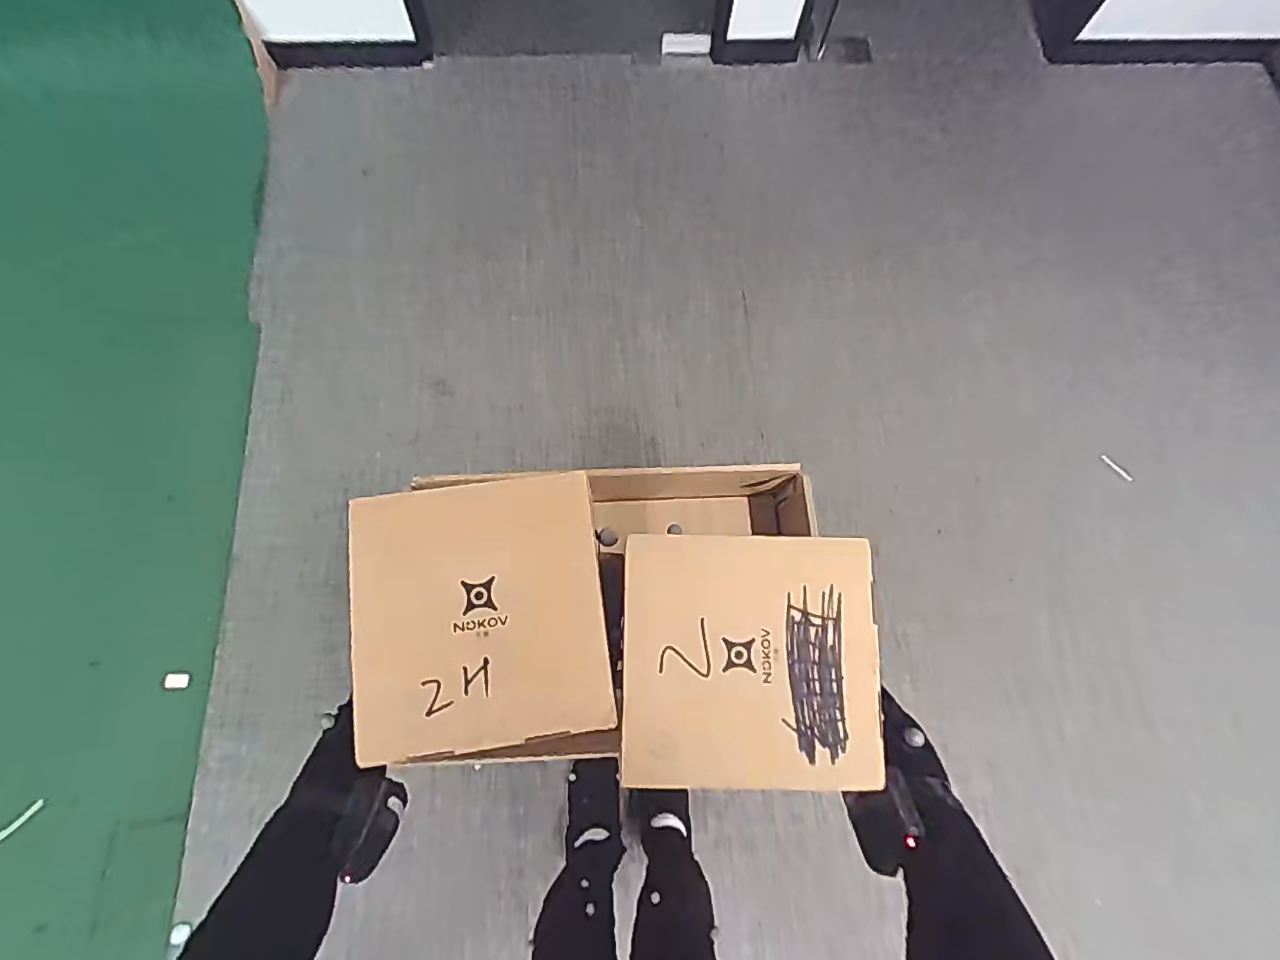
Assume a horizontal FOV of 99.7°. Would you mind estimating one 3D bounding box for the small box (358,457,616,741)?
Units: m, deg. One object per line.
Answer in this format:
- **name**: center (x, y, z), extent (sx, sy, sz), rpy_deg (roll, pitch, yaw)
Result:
- **small box**: center (-0.112, 0.094, 0.446), extent (0.168, 0.176, 0.179), rpy_deg (-7, 77, -4)
